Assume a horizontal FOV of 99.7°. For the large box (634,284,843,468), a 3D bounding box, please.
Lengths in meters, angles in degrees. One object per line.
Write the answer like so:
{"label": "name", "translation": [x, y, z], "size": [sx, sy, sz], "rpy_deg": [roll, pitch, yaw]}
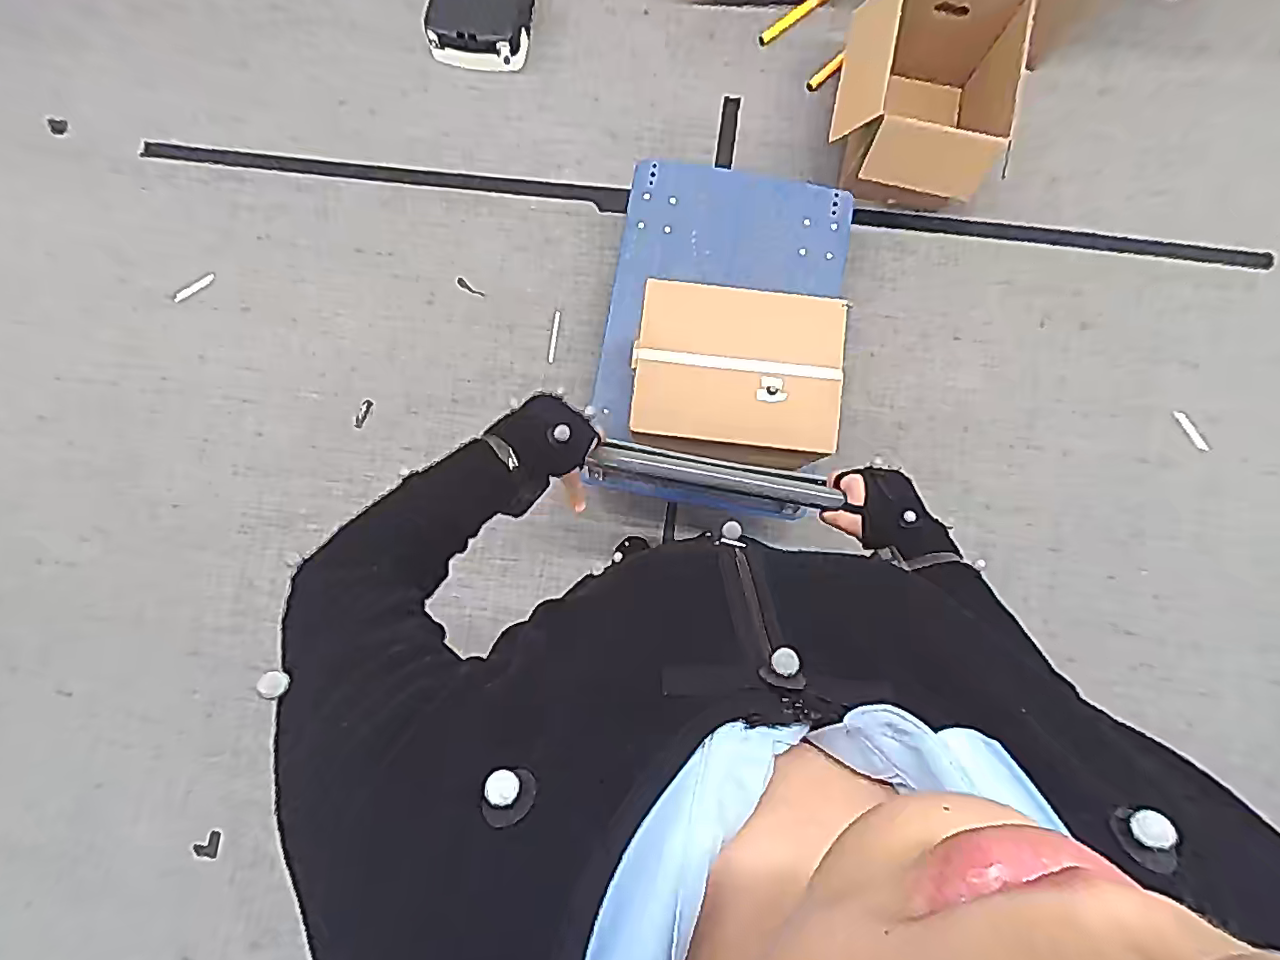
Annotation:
{"label": "large box", "translation": [0.196, -0.213, 1.223], "size": [0.408, 0.320, 0.320], "rpy_deg": [6, 85, 0]}
